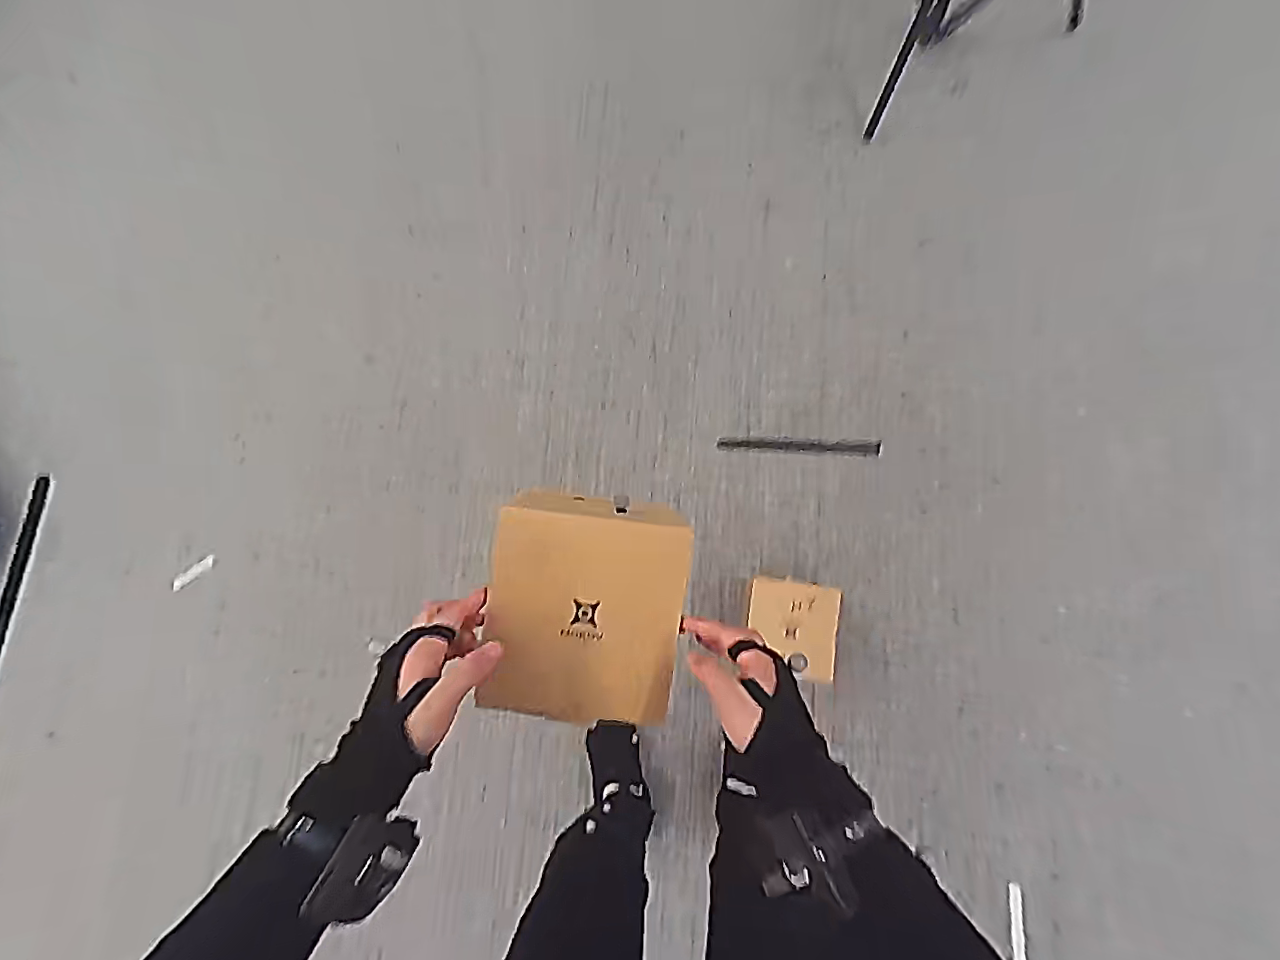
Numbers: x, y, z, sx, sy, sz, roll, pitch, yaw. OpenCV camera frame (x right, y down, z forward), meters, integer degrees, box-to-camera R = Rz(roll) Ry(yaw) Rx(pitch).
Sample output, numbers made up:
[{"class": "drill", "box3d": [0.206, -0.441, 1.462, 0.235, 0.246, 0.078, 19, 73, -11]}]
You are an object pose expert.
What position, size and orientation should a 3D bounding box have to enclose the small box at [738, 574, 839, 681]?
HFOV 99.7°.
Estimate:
[{"class": "small box", "box3d": [0.294, 0.292, 1.101, 0.168, 0.176, 0.179, 7, 80, 8]}]
